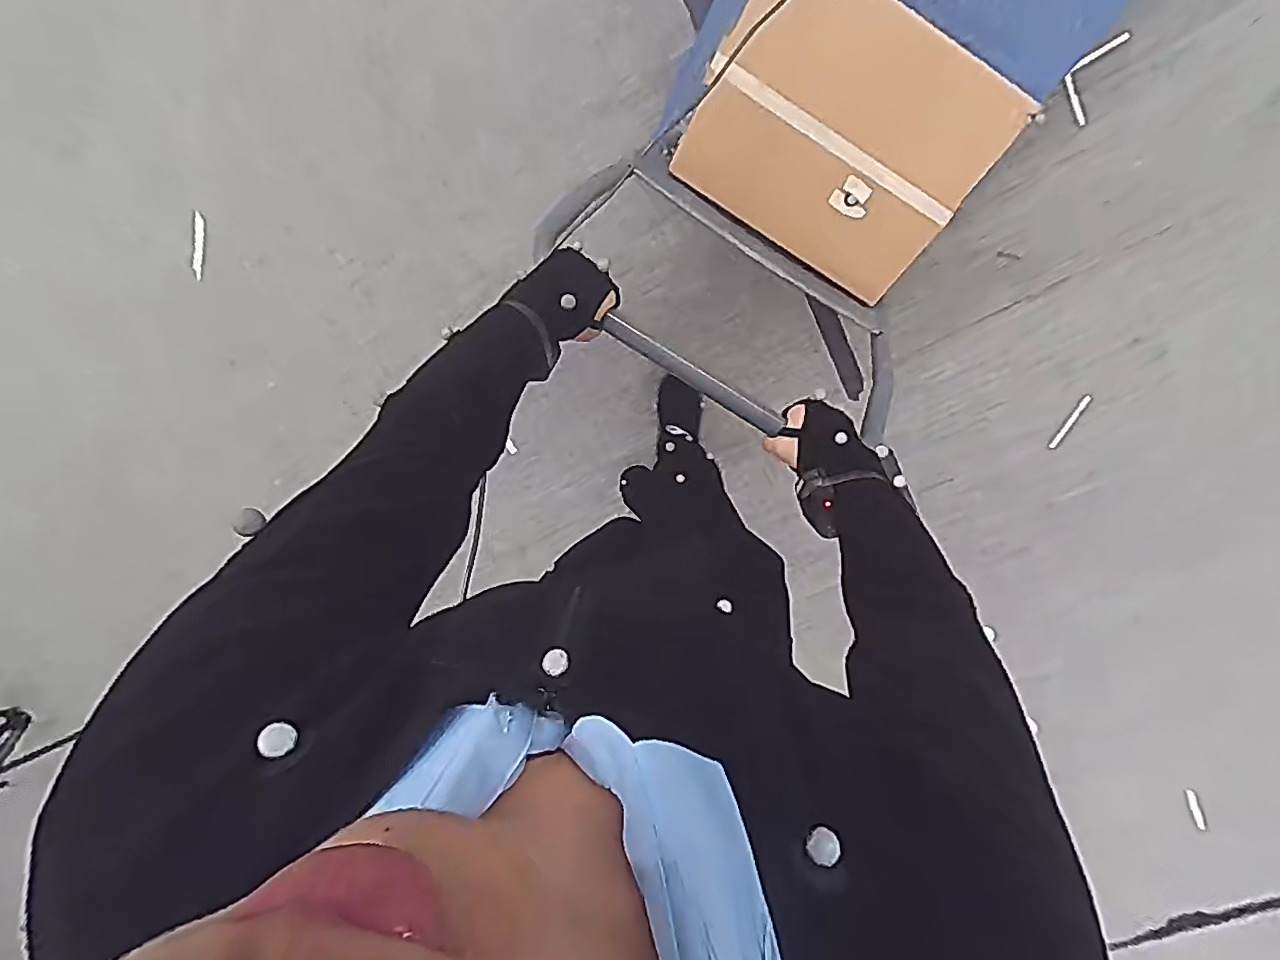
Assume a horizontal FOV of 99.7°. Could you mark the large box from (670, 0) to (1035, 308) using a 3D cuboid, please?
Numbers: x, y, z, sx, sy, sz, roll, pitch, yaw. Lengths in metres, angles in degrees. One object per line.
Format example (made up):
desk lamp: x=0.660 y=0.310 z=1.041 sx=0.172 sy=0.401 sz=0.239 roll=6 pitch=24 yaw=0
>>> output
large box: x=0.317 y=-0.562 z=0.896 sx=0.408 sy=0.320 sz=0.320 roll=31 pitch=130 yaw=-5
